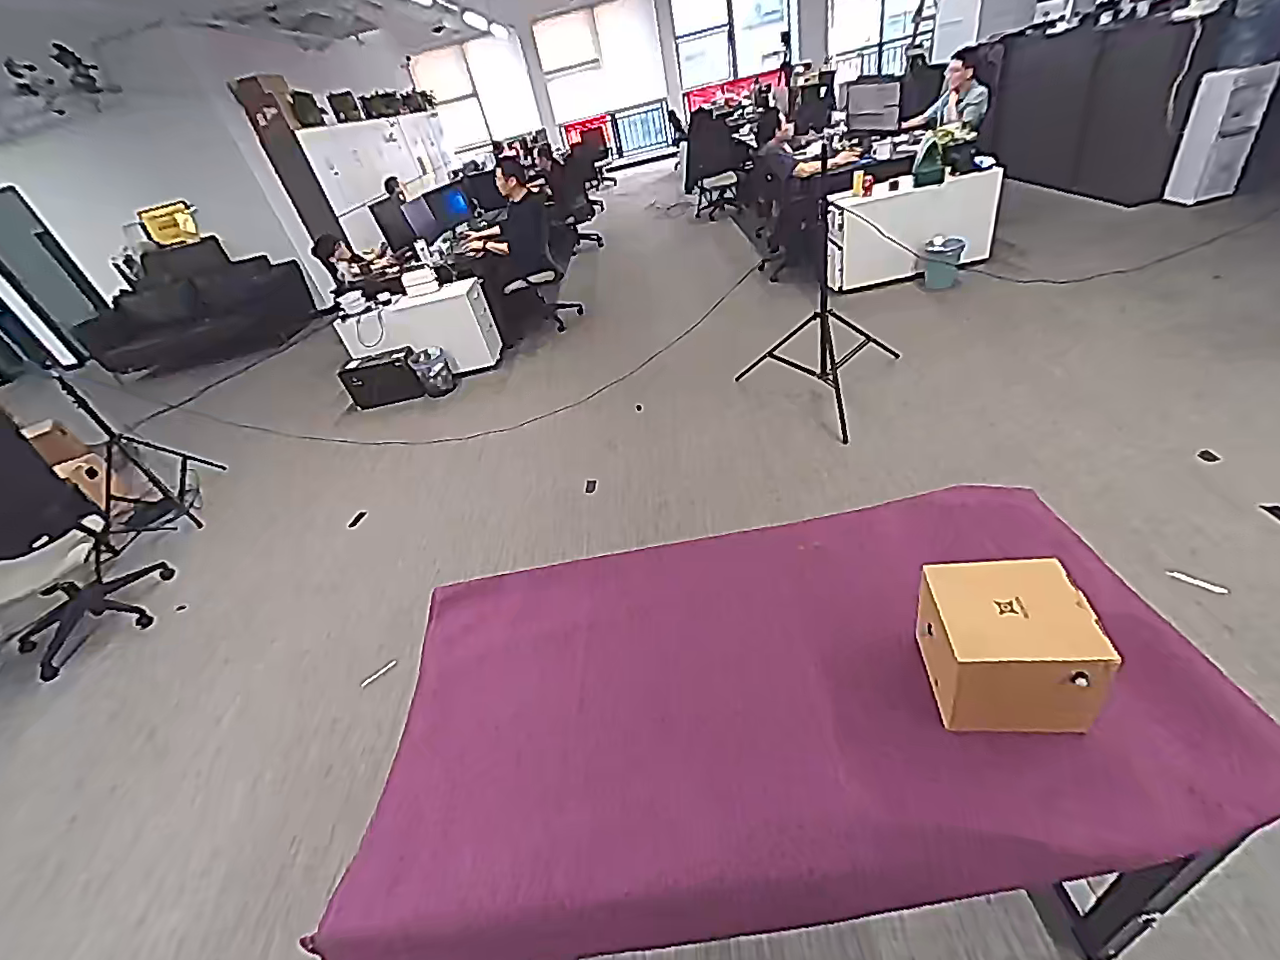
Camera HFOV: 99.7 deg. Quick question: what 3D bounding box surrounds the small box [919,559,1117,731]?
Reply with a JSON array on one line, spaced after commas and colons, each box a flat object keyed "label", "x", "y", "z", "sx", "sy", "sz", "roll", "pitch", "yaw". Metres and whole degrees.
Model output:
[{"label": "small box", "x": 0.503, "y": 0.232, "z": 0.756, "sx": 0.179, "sy": 0.176, "sz": 0.168, "roll": -6, "pitch": 36, "yaw": 13}]
